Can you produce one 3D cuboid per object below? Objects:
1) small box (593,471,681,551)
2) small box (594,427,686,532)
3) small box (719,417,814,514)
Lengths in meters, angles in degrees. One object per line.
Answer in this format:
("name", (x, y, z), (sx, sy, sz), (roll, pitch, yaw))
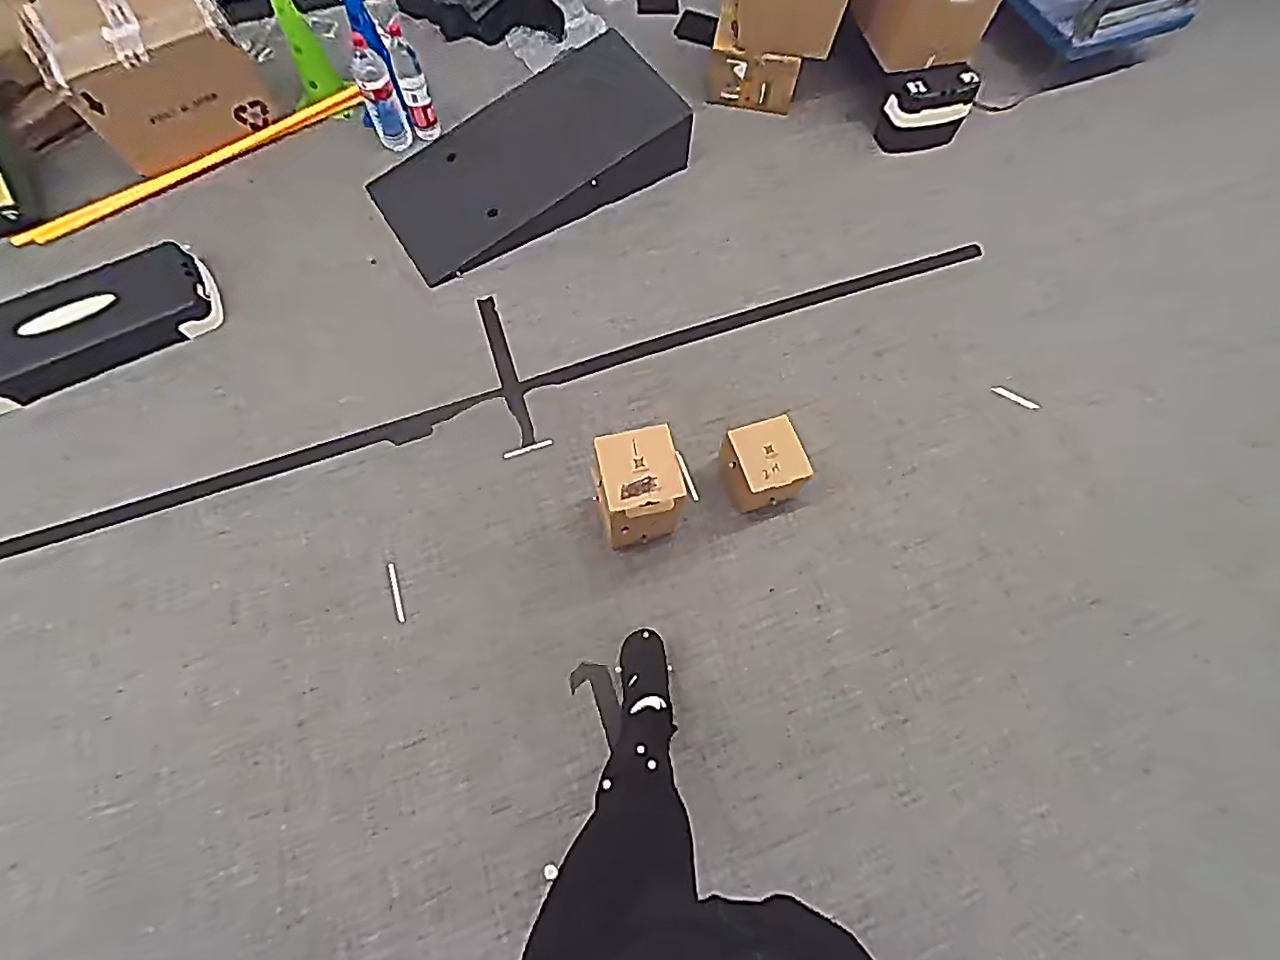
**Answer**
("small box", (-0.014, 0.063, 1.353), (0.179, 0.176, 0.168), (-16, 70, -9))
("small box", (-0.003, 0.008, 1.197), (0.168, 0.176, 0.179), (-12, 69, -7))
("small box", (0.317, -0.033, 1.400), (0.168, 0.176, 0.179), (-16, 71, -7))
